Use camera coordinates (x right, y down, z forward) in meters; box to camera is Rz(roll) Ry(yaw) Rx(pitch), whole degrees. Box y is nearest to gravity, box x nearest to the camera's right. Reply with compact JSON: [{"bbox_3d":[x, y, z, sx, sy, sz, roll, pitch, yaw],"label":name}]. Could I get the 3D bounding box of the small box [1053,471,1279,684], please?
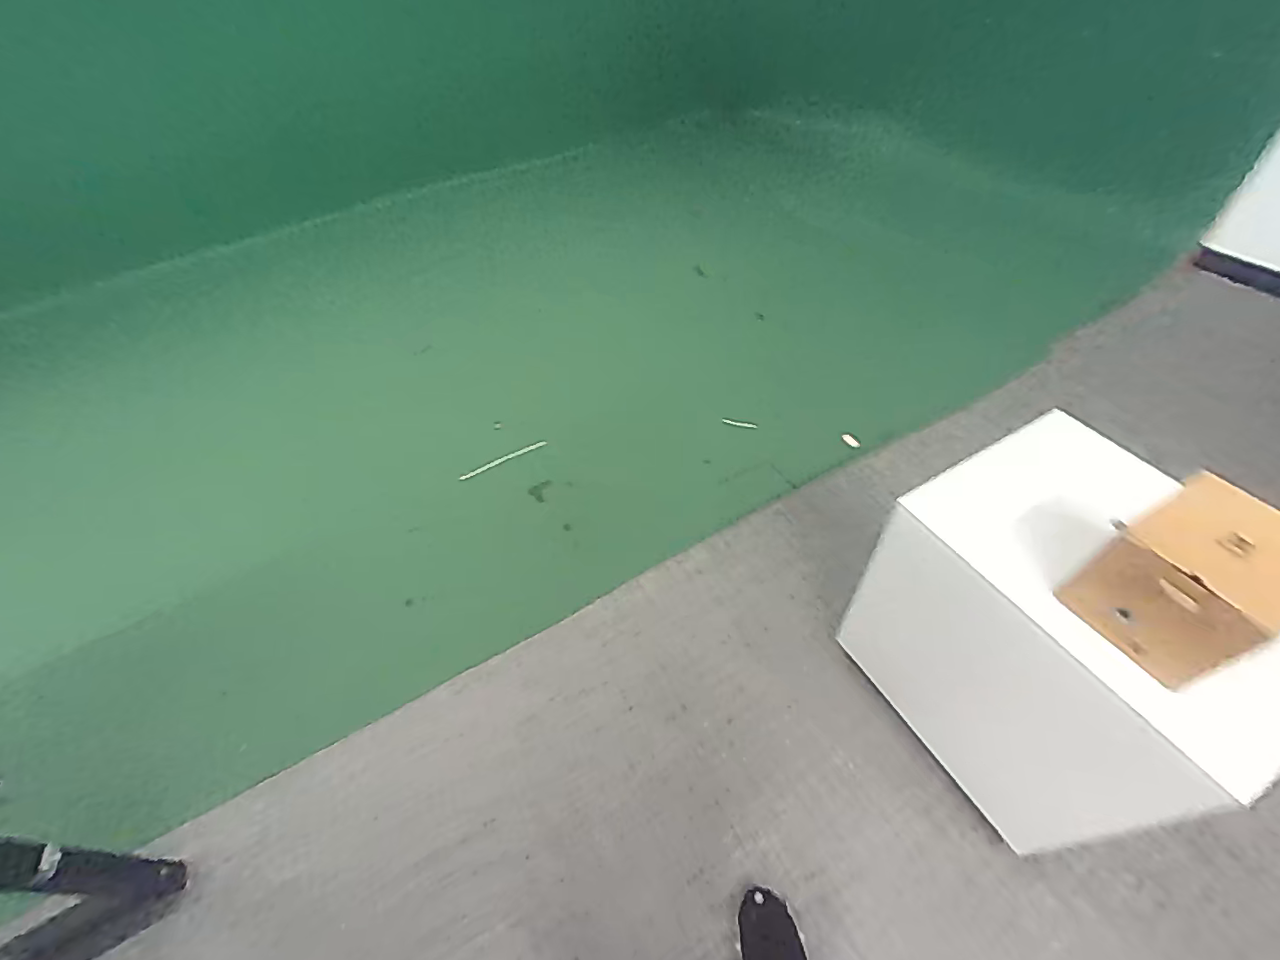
[{"bbox_3d":[0.688,0.126,0.691,0.179,0.176,0.168,-27,53,-16],"label":"small box"}]
